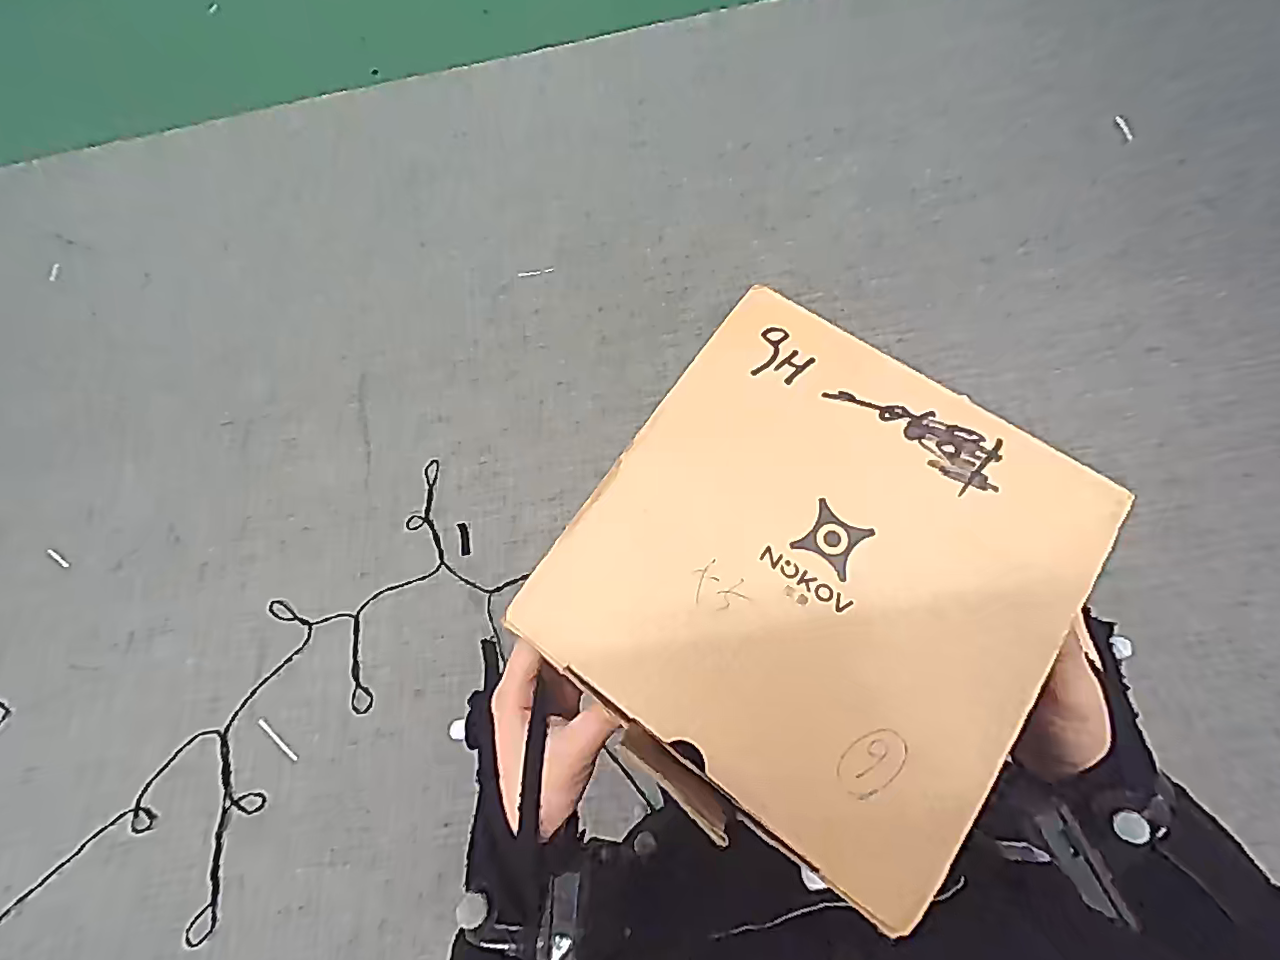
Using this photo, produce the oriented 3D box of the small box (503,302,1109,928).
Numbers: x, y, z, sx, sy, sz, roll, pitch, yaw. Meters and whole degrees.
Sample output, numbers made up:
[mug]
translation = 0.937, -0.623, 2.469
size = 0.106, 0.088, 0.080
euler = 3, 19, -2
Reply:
[small box]
translation = 0.067, 0.055, 0.281
size = 0.168, 0.176, 0.179
euler = 35, 79, 12
